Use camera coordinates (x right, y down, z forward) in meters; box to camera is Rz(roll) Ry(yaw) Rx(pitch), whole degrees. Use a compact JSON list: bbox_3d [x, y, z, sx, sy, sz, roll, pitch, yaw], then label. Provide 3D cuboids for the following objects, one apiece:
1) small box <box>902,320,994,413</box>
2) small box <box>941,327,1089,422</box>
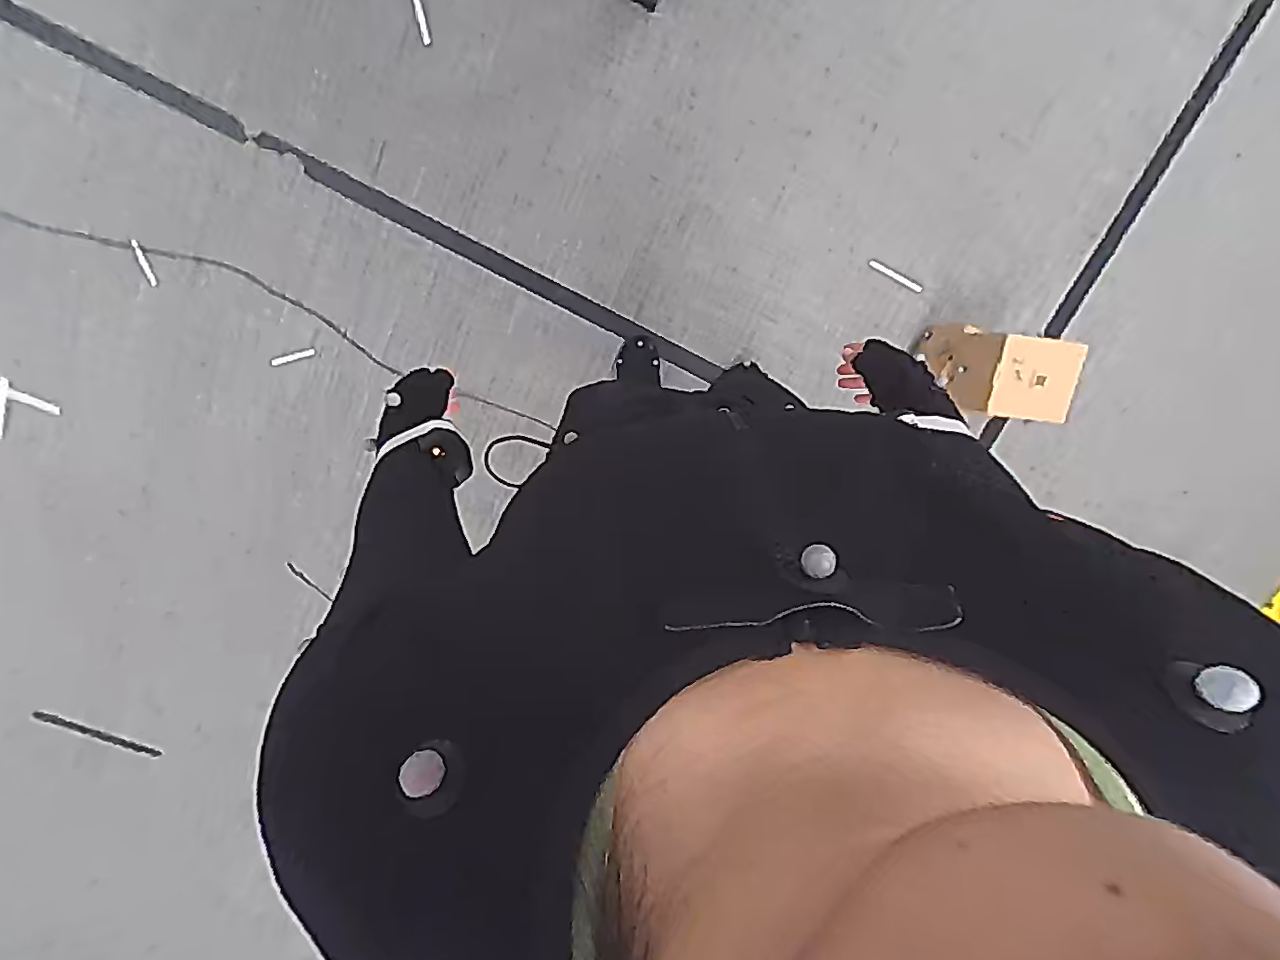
[{"bbox_3d":[0.796,-0.284,1.344,0.179,0.176,0.168,23,105,-8],"label":"small box"},{"bbox_3d":[0.809,-0.237,1.186,0.179,0.176,0.168,12,105,-2],"label":"small box"}]
